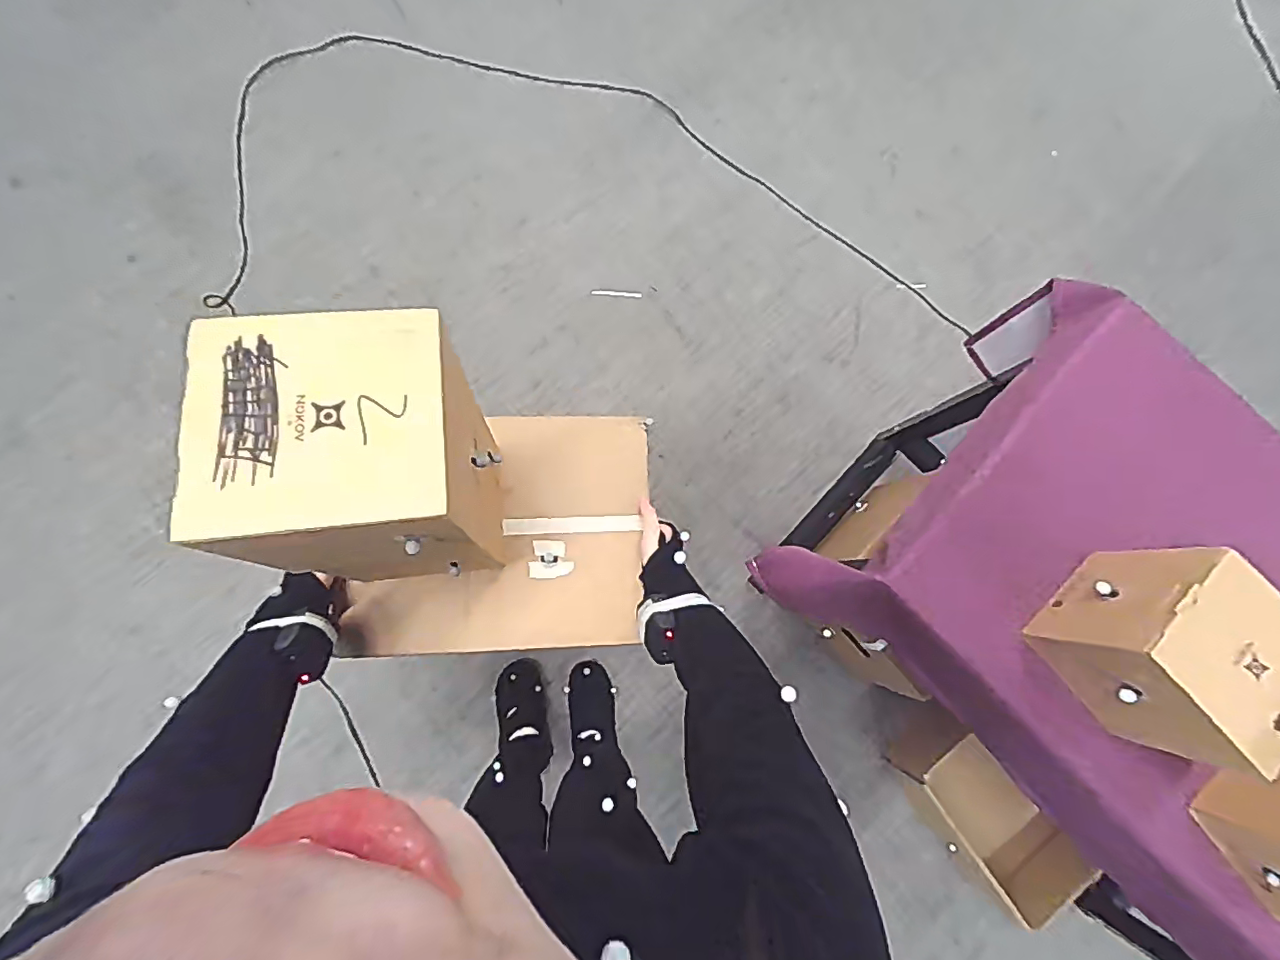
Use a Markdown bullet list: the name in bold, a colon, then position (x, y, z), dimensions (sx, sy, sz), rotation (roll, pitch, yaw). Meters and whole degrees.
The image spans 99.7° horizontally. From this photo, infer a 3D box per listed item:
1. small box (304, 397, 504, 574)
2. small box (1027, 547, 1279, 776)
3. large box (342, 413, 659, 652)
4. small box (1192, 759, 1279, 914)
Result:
- **small box**: position (-0.254, 0.014, 0.625), dimensions (0.179, 0.176, 0.168), rotation (-5, 76, -7)
- **small box**: position (0.624, 0.202, 0.645), dimensions (0.168, 0.176, 0.179), rotation (-40, 86, -10)
- **large box**: position (-0.198, 0.092, 0.865), dimensions (0.408, 0.320, 0.320), rotation (-1, 77, -7)
- **small box**: position (0.825, 0.421, 0.628), dimensions (0.179, 0.176, 0.168), rotation (-36, 85, -9)
